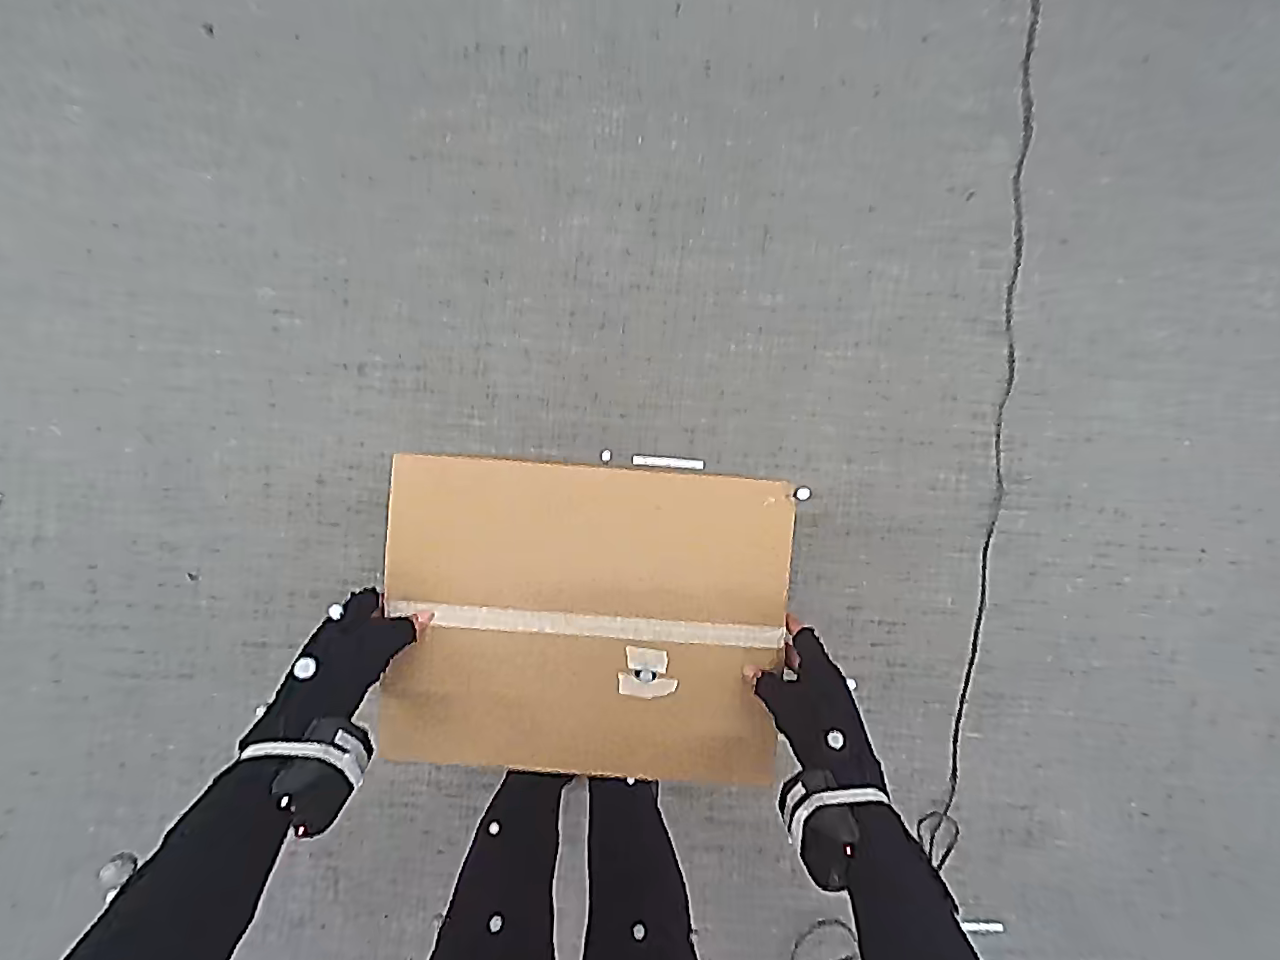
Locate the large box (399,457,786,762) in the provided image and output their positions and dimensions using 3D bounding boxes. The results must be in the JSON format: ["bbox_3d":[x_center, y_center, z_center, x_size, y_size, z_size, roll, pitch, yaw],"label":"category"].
[{"bbox_3d":[-0.055,0.135,0.721,0.408,0.320,0.320,4,93,-1],"label":"large box"}]
